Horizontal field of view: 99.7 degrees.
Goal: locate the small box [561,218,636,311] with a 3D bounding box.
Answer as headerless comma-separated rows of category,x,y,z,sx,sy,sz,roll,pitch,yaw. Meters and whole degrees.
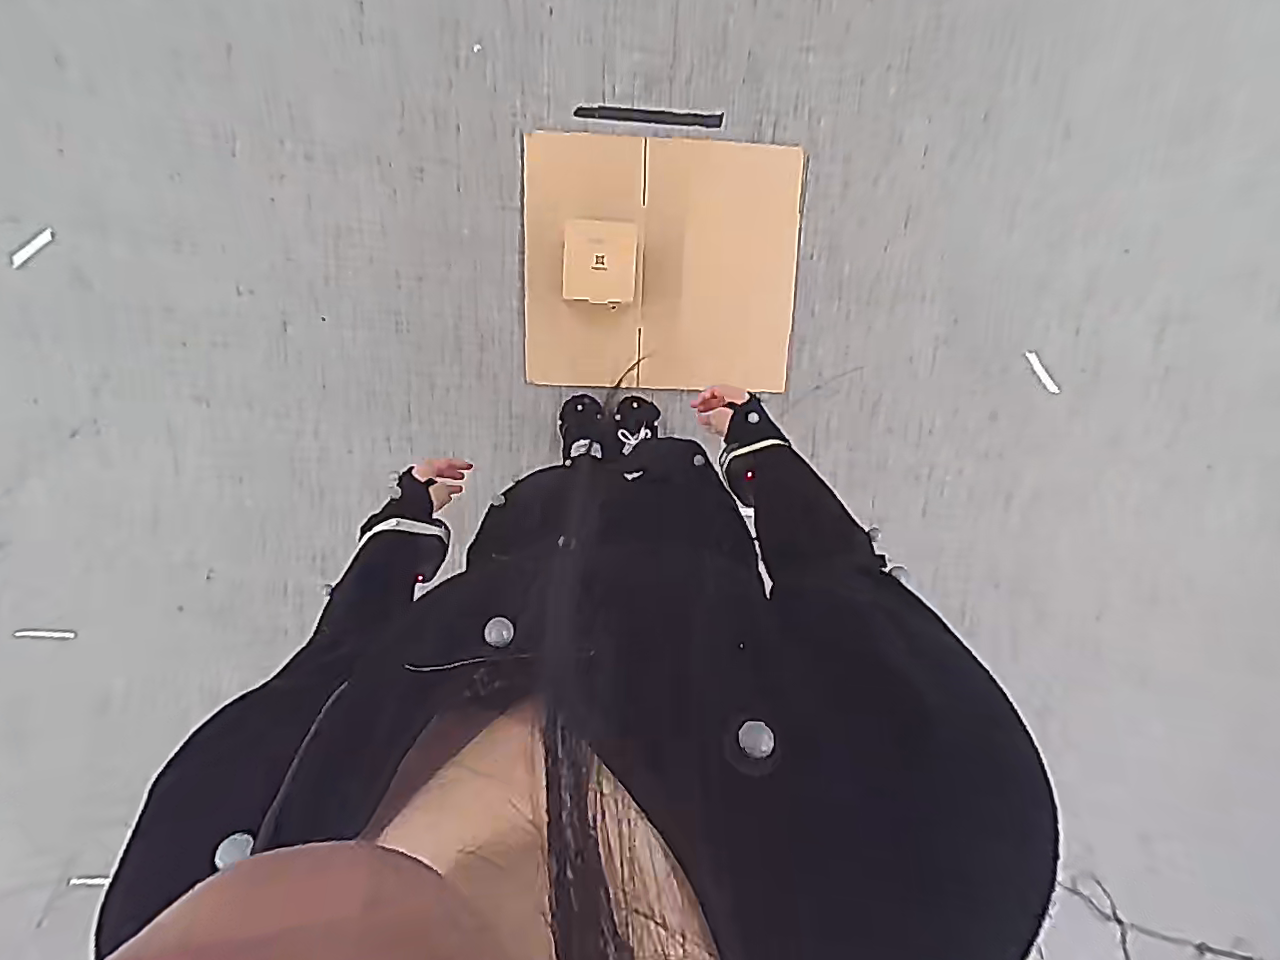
small box,-0.100,-0.508,1.299,0.168,0.176,0.179,2,100,-5
